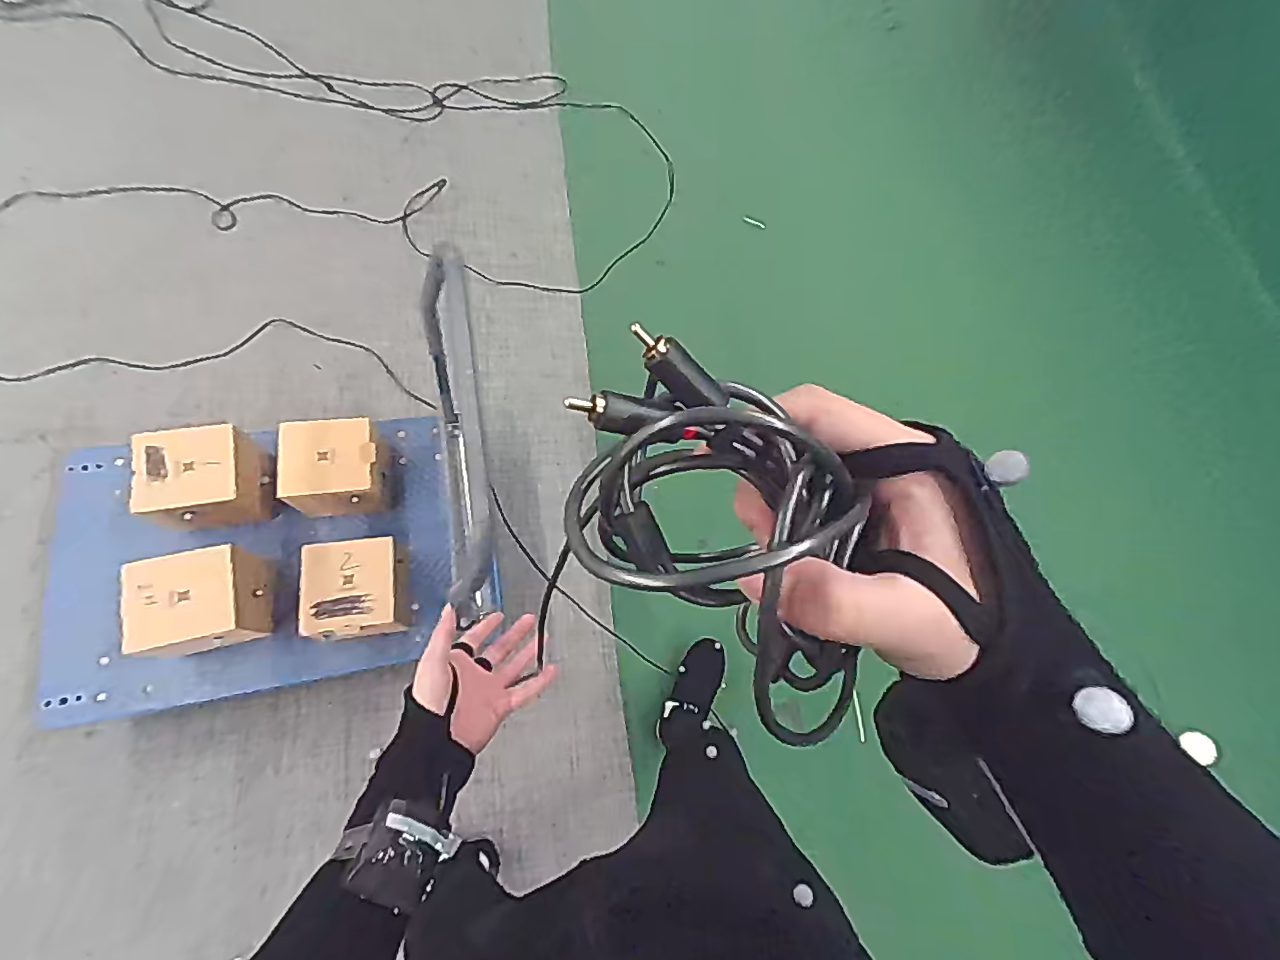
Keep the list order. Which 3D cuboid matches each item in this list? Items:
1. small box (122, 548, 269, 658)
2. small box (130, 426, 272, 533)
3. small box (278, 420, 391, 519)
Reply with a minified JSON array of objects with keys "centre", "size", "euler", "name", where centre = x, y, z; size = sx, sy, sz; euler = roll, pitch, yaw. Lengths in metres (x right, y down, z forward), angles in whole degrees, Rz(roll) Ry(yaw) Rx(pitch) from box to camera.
[{"centre":[-0.854,0.243,1.057],"size":[0.179,0.176,0.168],"euler":[-11,74,-15],"name":"small box"},{"centre":[-0.904,0.004,1.128],"size":[0.179,0.176,0.168],"euler":[-9,74,-15],"name":"small box"},{"centre":[-0.663,-0.018,1.188],"size":[0.179,0.176,0.168],"euler":[-5,73,-14],"name":"small box"}]
